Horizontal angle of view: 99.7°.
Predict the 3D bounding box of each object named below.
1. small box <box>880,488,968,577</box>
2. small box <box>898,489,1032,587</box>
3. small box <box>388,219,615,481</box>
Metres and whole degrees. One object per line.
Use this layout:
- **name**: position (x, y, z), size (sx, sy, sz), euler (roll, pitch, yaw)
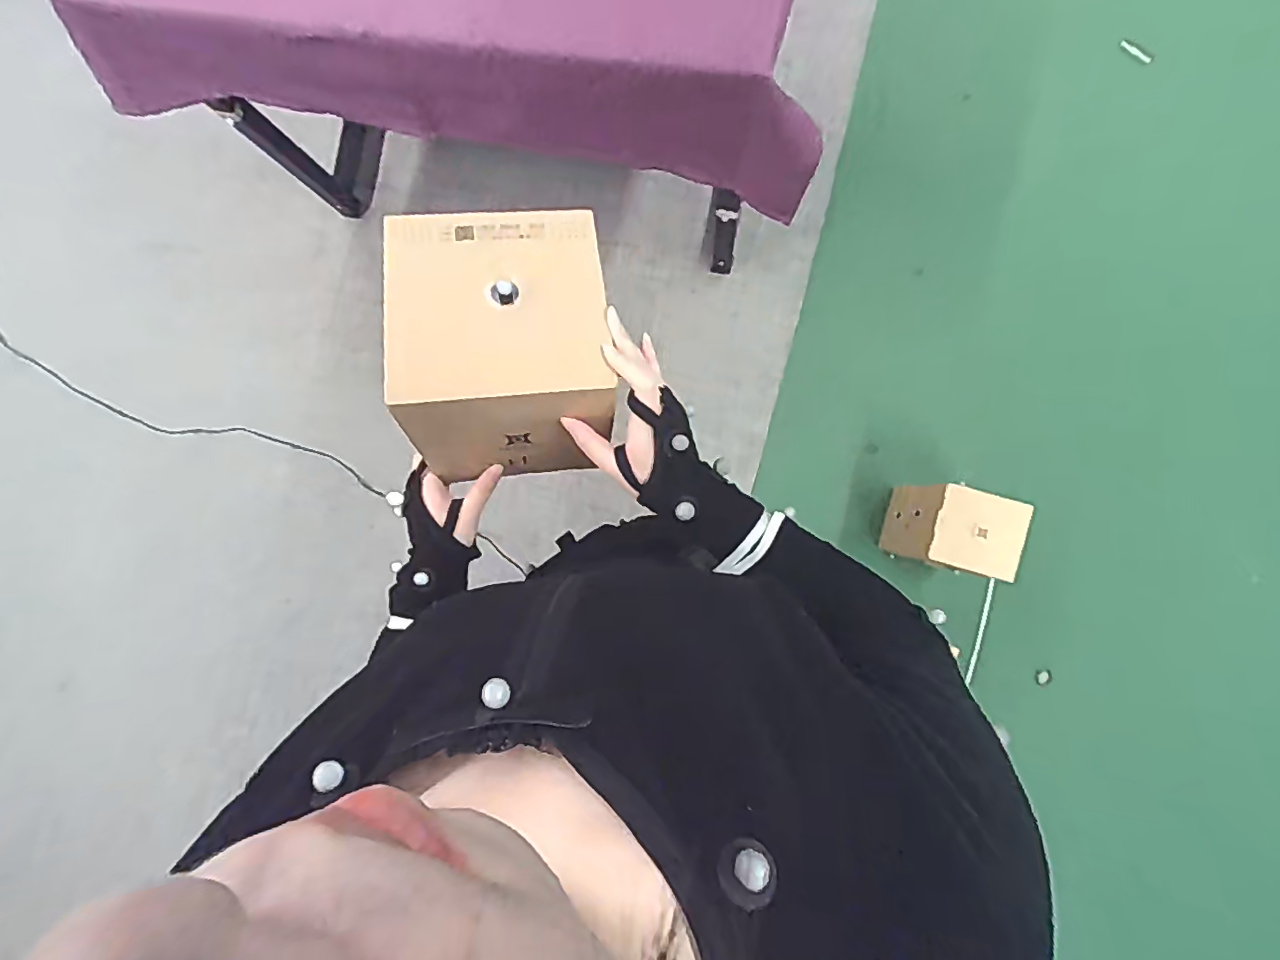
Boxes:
- **small box**: position (0.722, 0.128, 1.350), size (0.168, 0.176, 0.179), euler (16, 88, 6)
- **small box**: position (0.703, 0.121, 1.188), size (0.179, 0.176, 0.168), euler (17, 89, 7)
- **small box**: position (-0.121, -0.112, 0.491), size (0.168, 0.179, 0.176), euler (-5, 72, -9)
